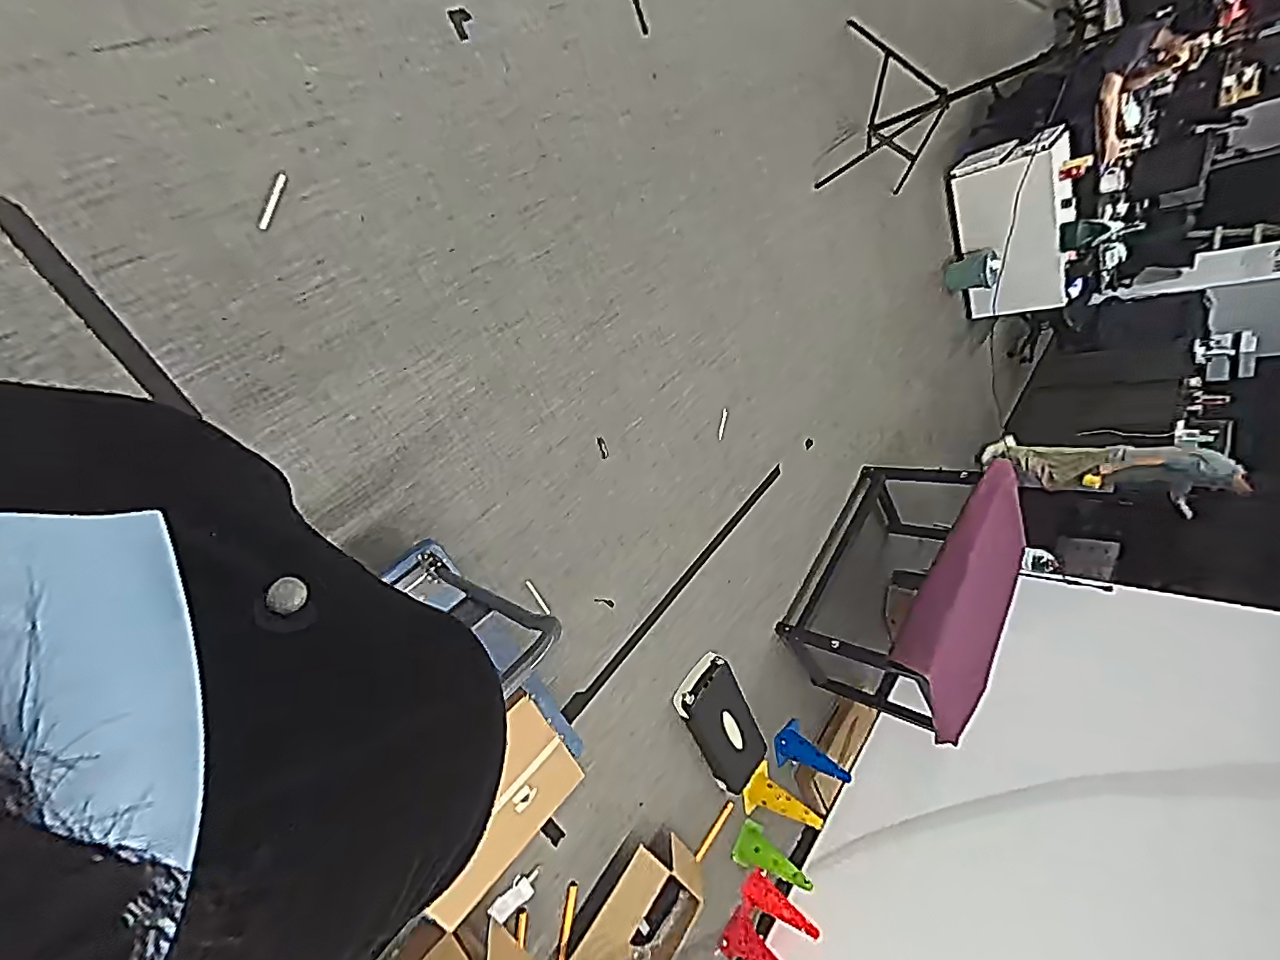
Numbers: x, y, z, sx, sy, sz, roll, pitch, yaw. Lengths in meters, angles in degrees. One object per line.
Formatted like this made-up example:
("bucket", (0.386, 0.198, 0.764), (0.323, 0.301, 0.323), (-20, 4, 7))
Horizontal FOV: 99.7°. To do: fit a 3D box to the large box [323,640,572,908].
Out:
("large box", (-0.451, 0.667, 1.296), (0.408, 0.320, 0.320), (-41, 121, -32))
